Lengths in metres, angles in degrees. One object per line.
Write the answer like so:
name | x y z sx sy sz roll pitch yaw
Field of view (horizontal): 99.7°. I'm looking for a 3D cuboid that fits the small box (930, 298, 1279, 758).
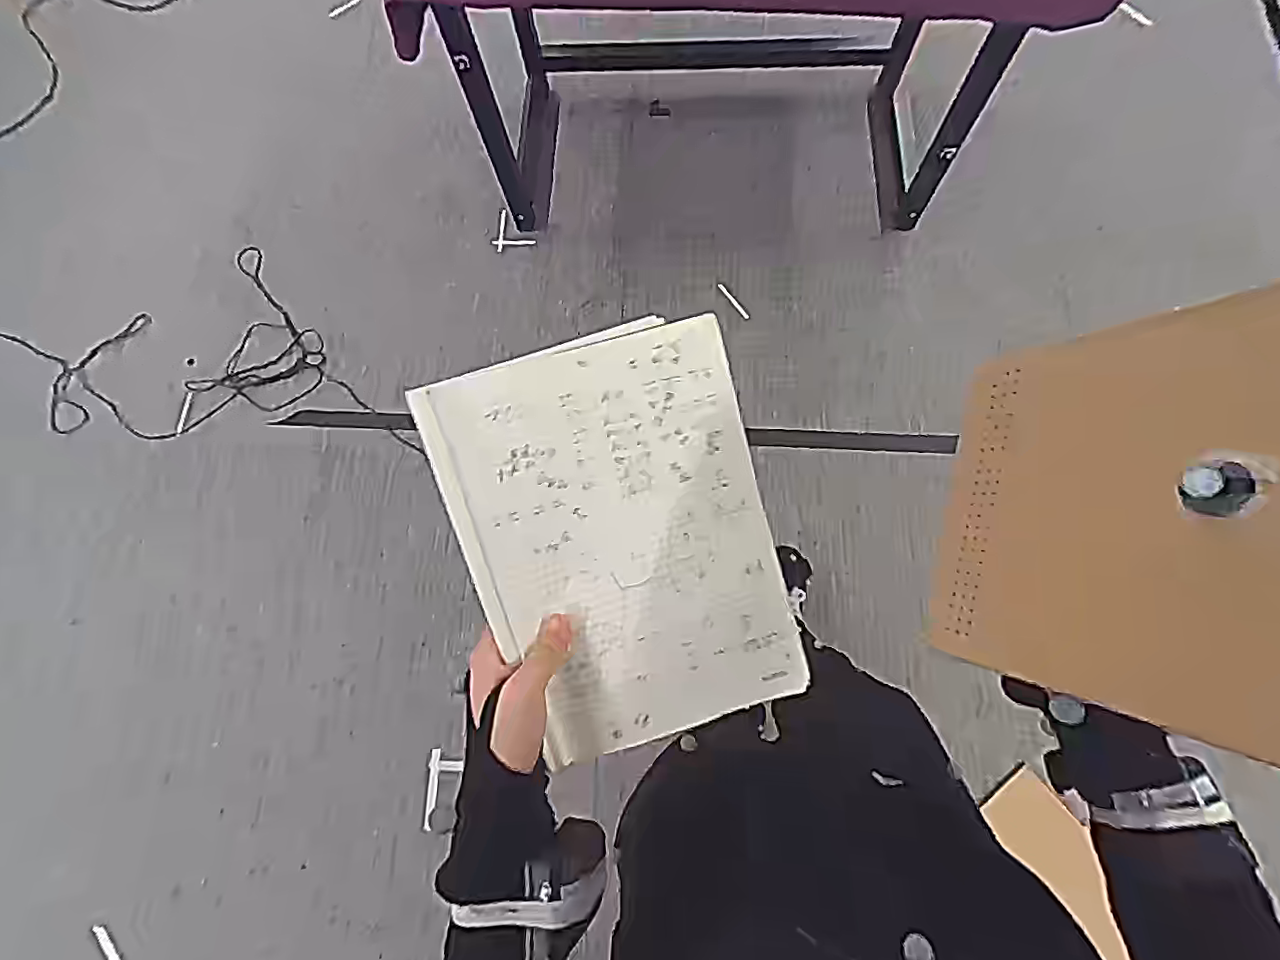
small box | 0.276 0.029 0.262 0.168 0.176 0.179 15 85 -15
